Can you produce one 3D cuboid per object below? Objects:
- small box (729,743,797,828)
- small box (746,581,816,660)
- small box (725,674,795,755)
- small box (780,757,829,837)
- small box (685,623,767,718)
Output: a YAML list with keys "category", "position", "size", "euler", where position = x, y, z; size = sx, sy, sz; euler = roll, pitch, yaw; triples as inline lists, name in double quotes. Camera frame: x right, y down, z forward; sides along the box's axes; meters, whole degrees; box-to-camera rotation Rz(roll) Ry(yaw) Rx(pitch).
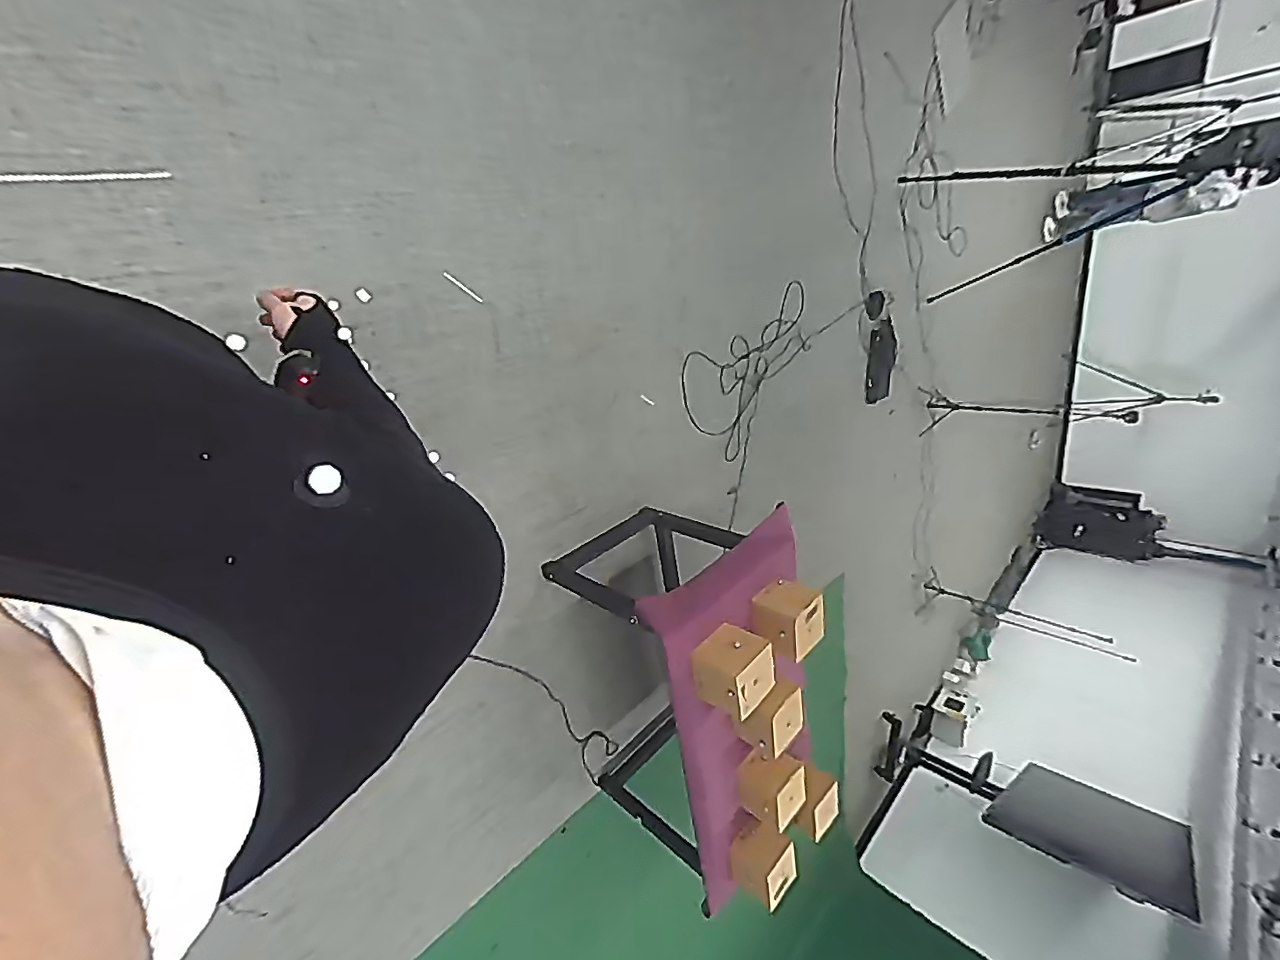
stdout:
- category: "small box"
  position: [0.431, 1.056, 1.899]
  size: [0.168, 0.176, 0.179]
  euler: [-25, 116, -38]
- category: "small box"
  position: [0.461, 0.449, 1.775]
  size: [0.168, 0.176, 0.179]
  euler: [-26, 118, -37]
- category: "small box"
  position: [0.391, 0.750, 1.781]
  size: [0.168, 0.176, 0.179]
  euler: [-26, 117, -38]
- category: "small box"
  position: [0.627, 1.240, 2.132]
  size: [0.168, 0.176, 0.179]
  euler: [-24, 115, -37]
- category: "small box"
  position: [0.255, 0.551, 1.596]
  size: [0.179, 0.176, 0.168]
  euler: [-29, 119, -38]
